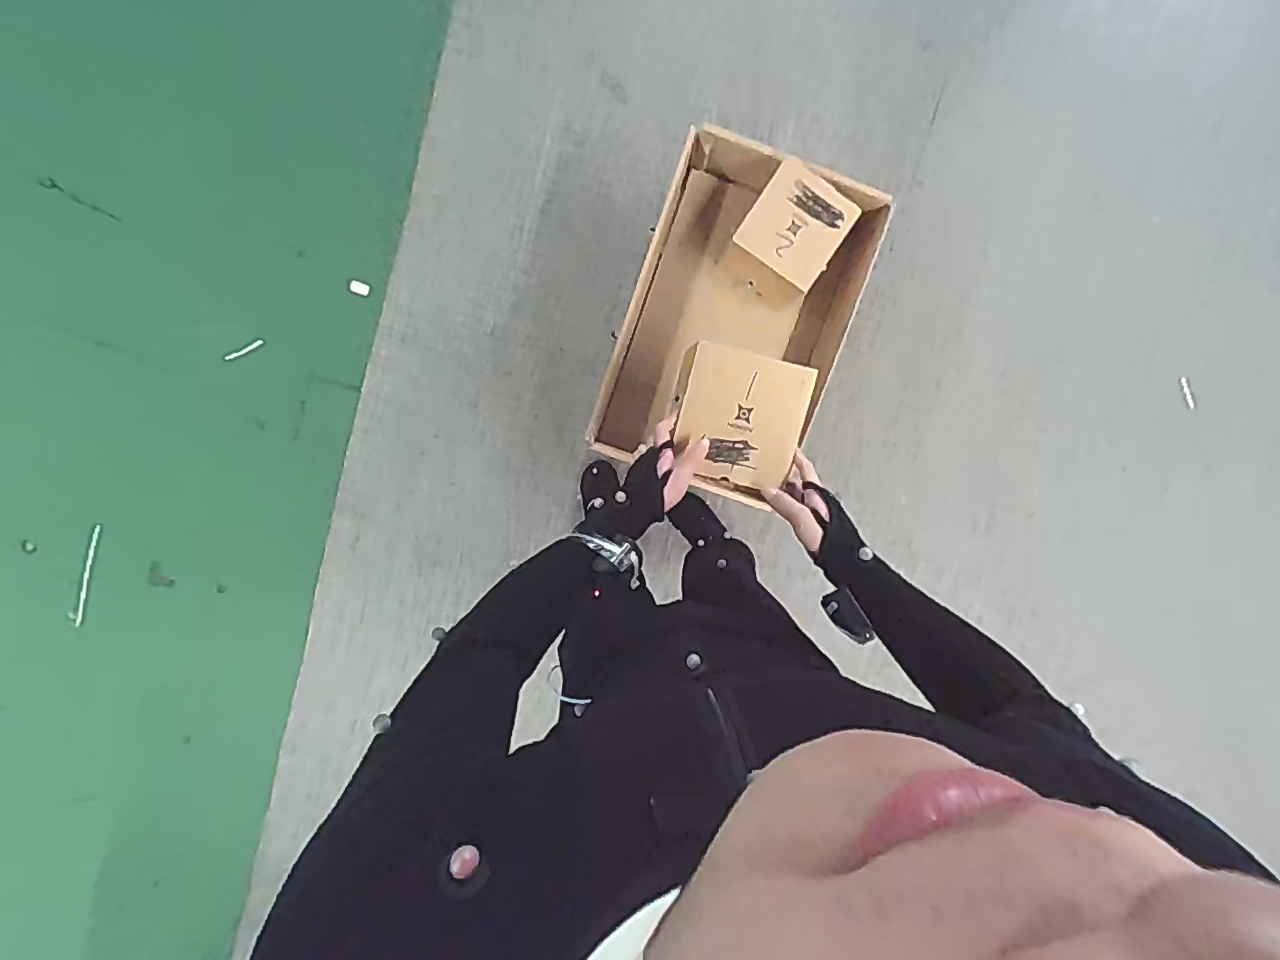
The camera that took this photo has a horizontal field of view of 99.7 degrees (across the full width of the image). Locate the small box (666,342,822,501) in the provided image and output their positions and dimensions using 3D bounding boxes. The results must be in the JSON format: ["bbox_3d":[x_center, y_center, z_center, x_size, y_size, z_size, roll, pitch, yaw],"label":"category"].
[{"bbox_3d":[0.136,-0.086,0.783,0.168,0.176,0.179,14,98,-3],"label":"small box"}]
